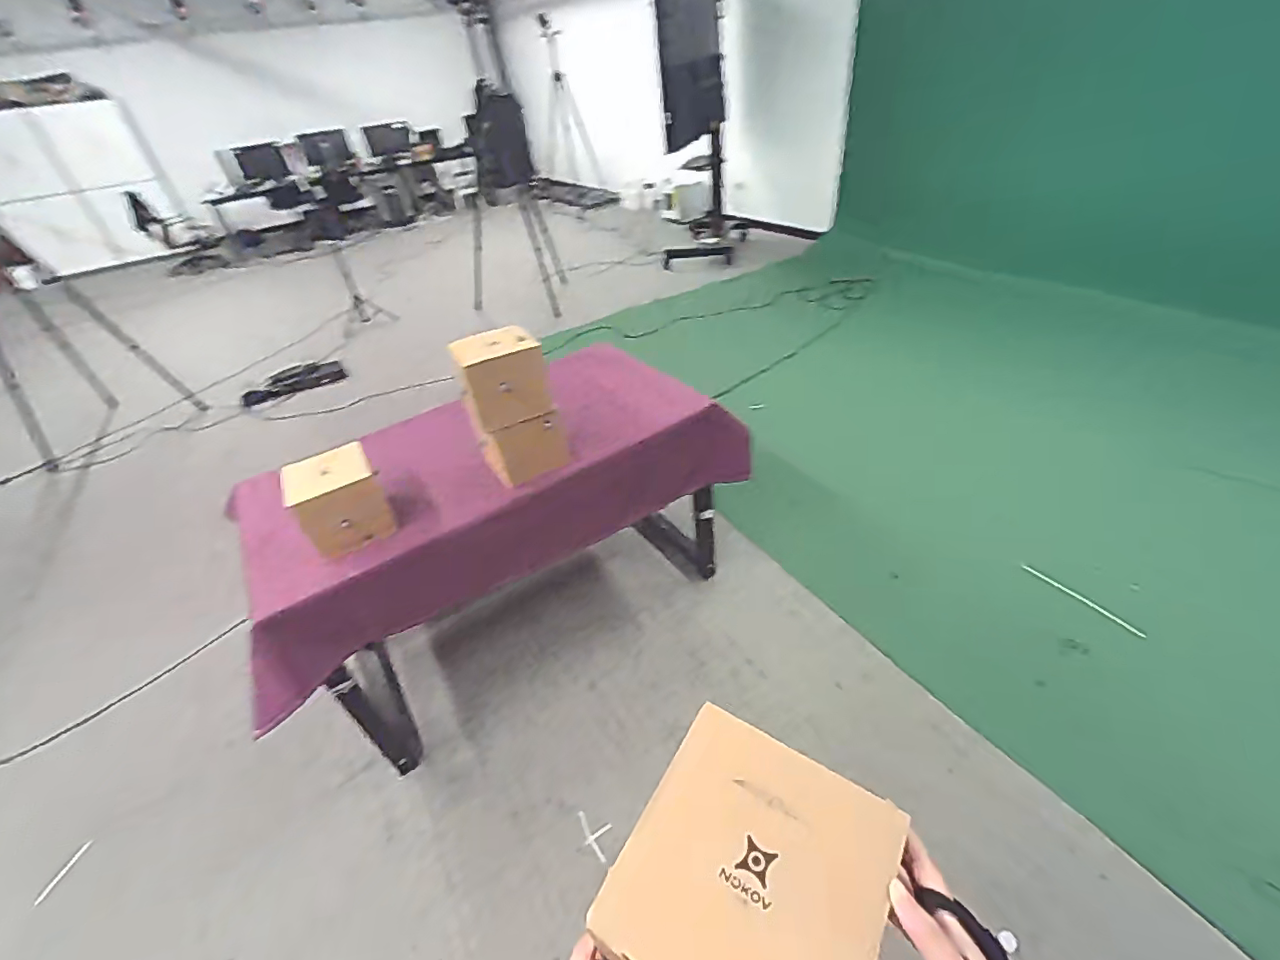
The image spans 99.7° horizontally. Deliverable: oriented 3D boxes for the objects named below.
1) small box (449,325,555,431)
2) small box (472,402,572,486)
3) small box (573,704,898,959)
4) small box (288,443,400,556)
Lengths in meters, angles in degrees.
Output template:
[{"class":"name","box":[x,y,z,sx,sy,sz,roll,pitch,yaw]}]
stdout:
[{"class":"small box","box":[-0.316,-0.236,1.255,0.179,0.176,0.168,-23,40,-18]},{"class":"small box","box":[-0.293,-0.111,1.360,0.179,0.176,0.168,-26,41,-22]},{"class":"small box","box":[0.074,0.321,0.417,0.168,0.176,0.179,21,48,25]},{"class":"small box","box":[-0.664,0.049,1.222,0.168,0.176,0.179,-25,40,-21]}]
